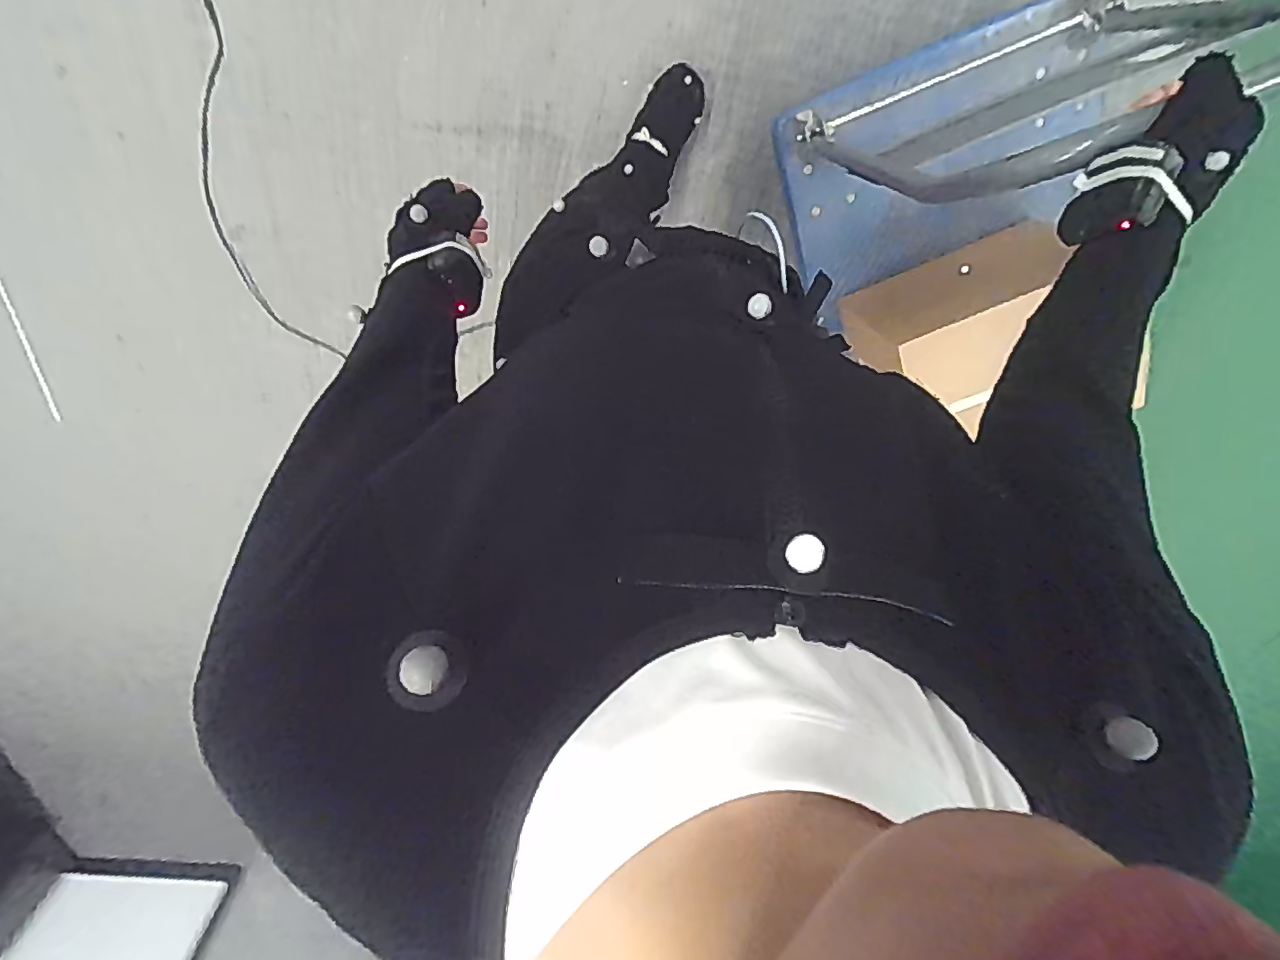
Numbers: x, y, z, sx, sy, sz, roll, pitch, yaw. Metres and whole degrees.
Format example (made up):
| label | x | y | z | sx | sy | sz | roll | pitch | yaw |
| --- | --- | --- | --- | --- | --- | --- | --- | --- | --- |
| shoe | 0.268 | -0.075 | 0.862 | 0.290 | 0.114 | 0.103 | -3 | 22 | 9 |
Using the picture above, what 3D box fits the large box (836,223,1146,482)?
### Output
| label | x | y | z | sx | sy | sz | roll | pitch | yaw |
| --- | --- | --- | --- | --- | --- | --- | --- | --- | --- |
| large box | 0.672 | -0.262 | 1.088 | 0.408 | 0.320 | 0.320 | -22 | 121 | 11 |
